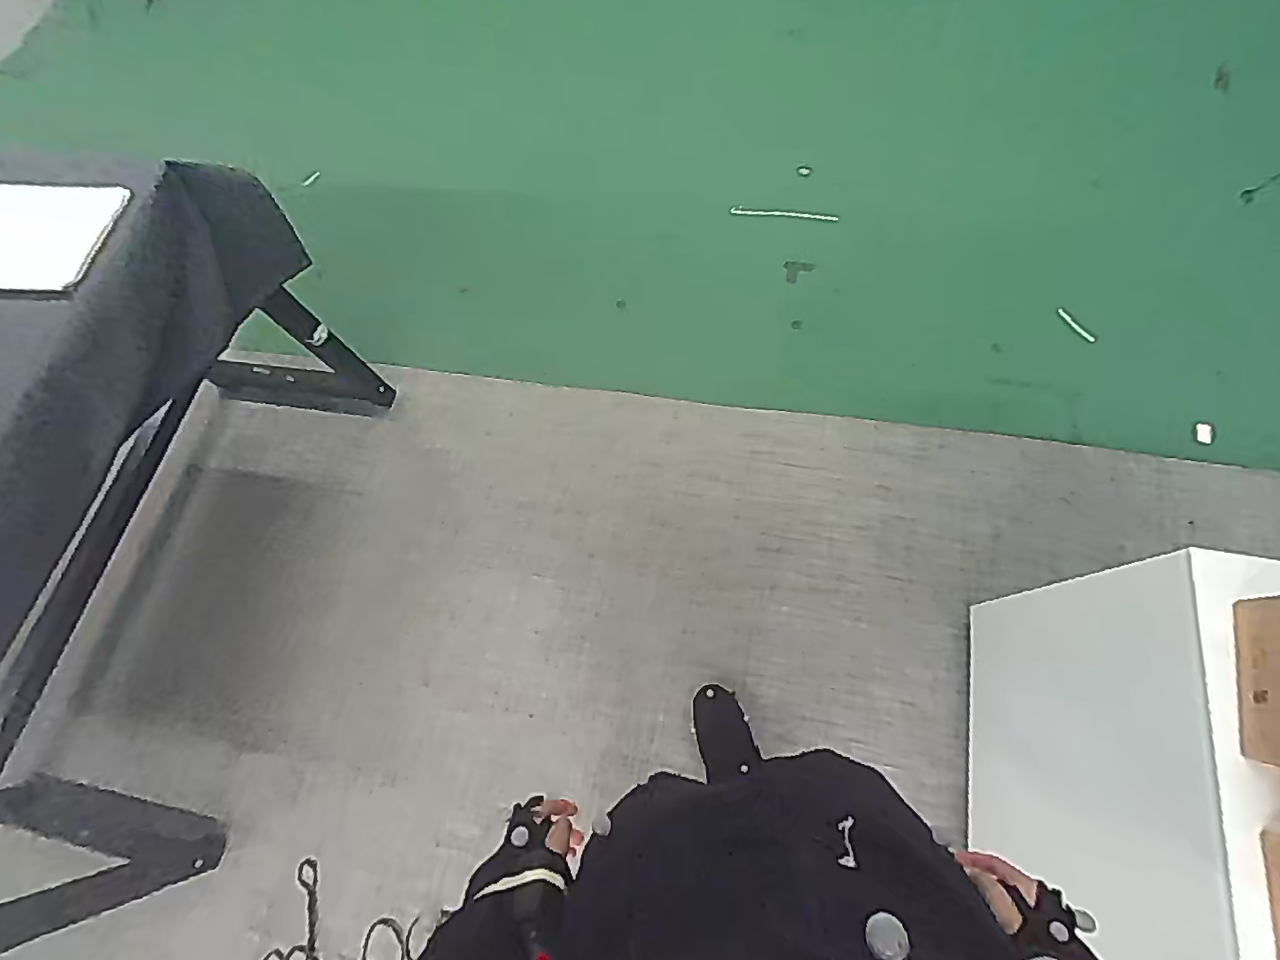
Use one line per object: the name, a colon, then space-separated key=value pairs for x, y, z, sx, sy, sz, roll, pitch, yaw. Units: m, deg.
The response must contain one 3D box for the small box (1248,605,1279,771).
small box: x=0.716 y=0.207 z=0.488 sx=0.179 sy=0.176 sz=0.168 roll=13 pitch=73 yaw=9
